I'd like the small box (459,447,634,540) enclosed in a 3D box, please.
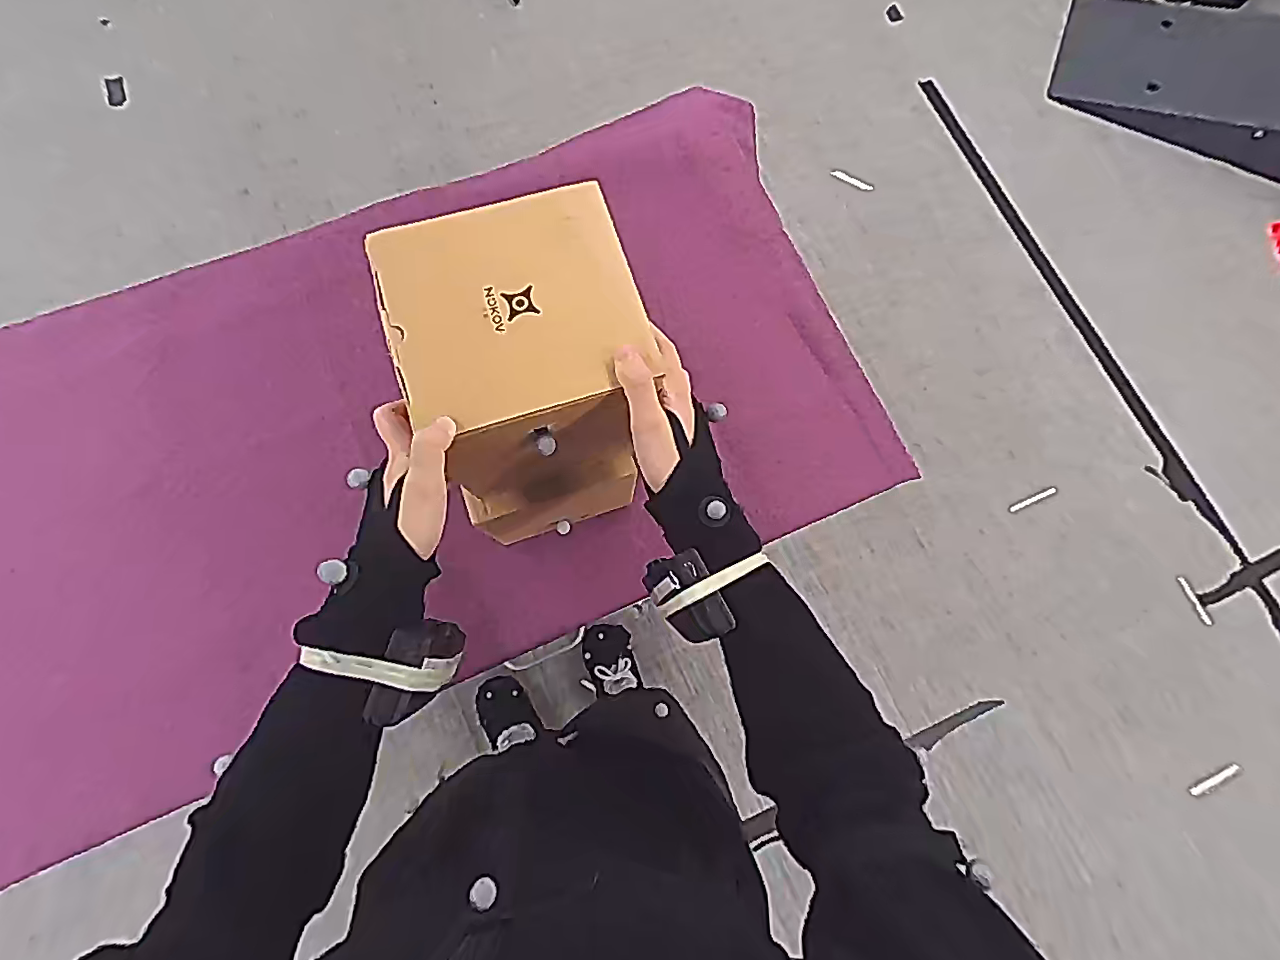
[{"bbox_3d":[-0.113,-0.044,0.611,0.168,0.176,0.179,-18,79,-7],"label":"small box"}]

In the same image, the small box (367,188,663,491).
[{"bbox_3d":[-0.094,-0.102,0.459,0.179,0.176,0.168,-18,79,-6],"label":"small box"}]
